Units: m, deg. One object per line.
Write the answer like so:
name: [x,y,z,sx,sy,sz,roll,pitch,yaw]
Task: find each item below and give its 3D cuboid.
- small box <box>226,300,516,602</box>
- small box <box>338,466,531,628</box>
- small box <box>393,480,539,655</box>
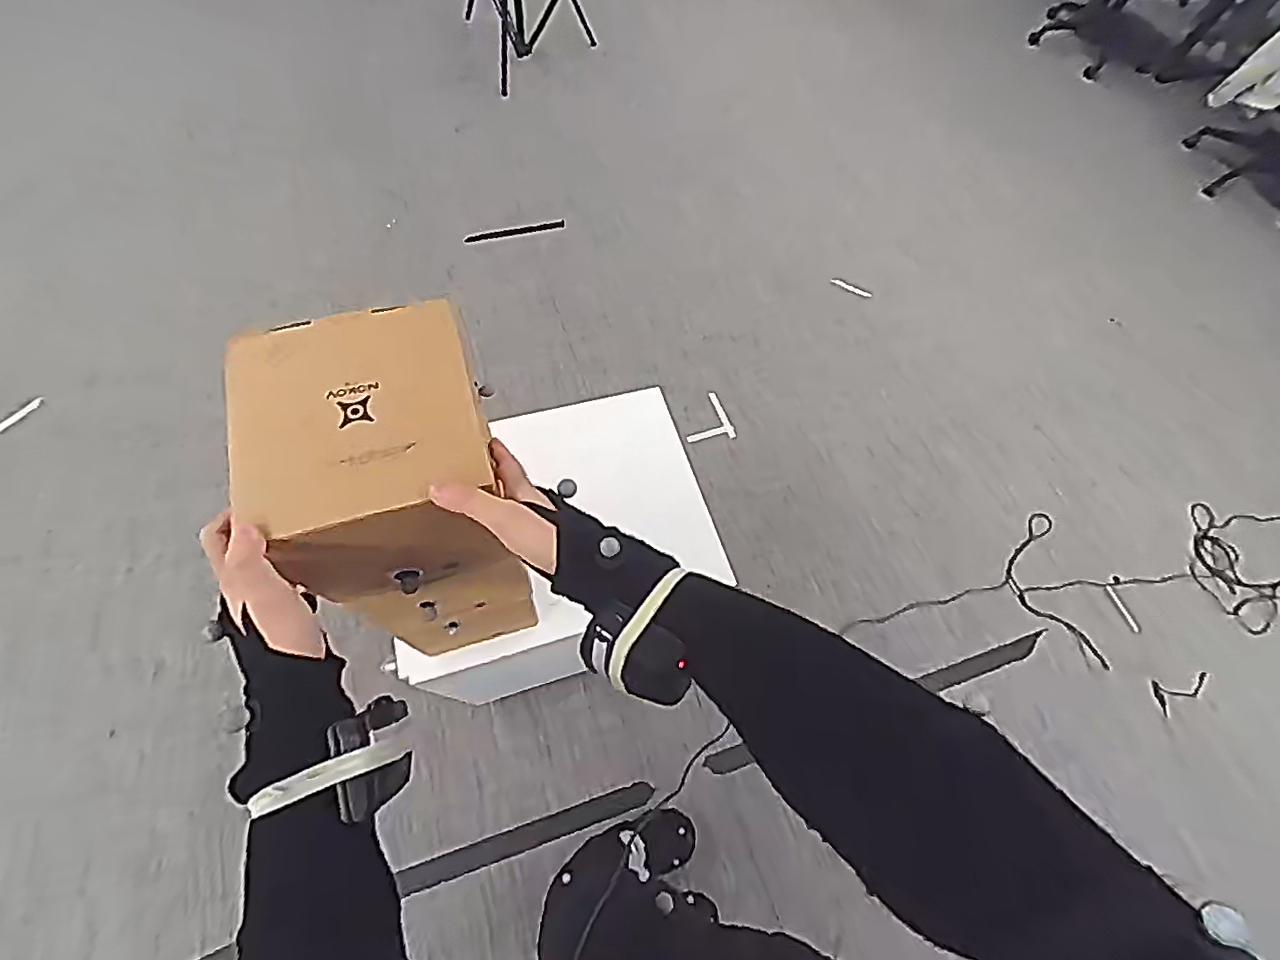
small box: [-0.209,-0.017,0.455,0.168,0.176,0.179,-15,68,-12]
small box: [-0.224,0.054,0.601,0.168,0.176,0.179,-15,67,-13]
small box: [-0.242,0.123,0.748,0.168,0.176,0.179,-14,66,-13]
